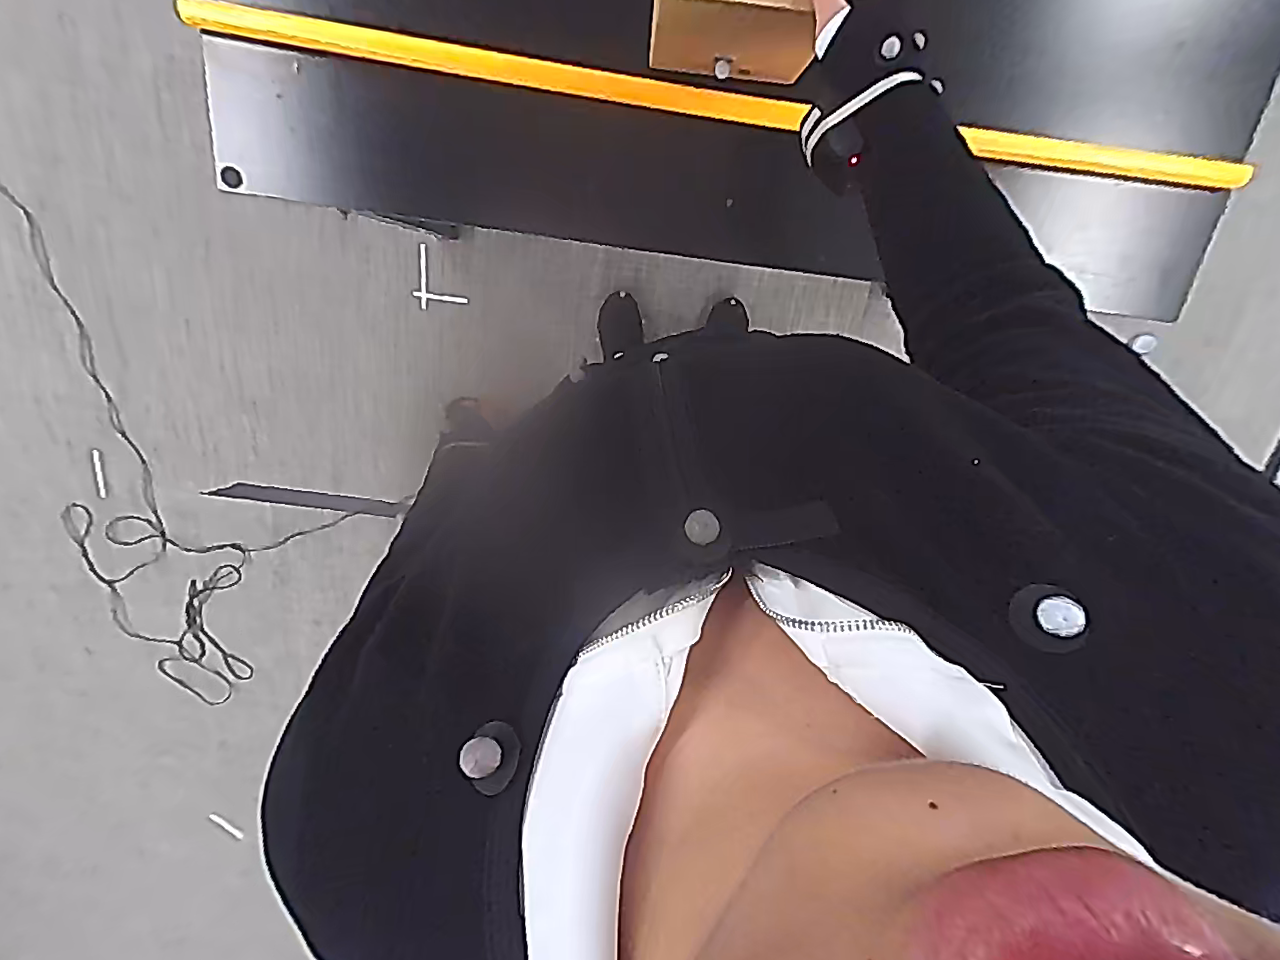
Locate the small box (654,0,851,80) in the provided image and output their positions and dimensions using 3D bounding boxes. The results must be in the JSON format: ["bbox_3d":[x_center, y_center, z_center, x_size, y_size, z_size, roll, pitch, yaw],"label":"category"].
[{"bbox_3d":[0.105,-0.516,0.506,0.168,0.176,0.179,5,110,-3],"label":"small box"}]
